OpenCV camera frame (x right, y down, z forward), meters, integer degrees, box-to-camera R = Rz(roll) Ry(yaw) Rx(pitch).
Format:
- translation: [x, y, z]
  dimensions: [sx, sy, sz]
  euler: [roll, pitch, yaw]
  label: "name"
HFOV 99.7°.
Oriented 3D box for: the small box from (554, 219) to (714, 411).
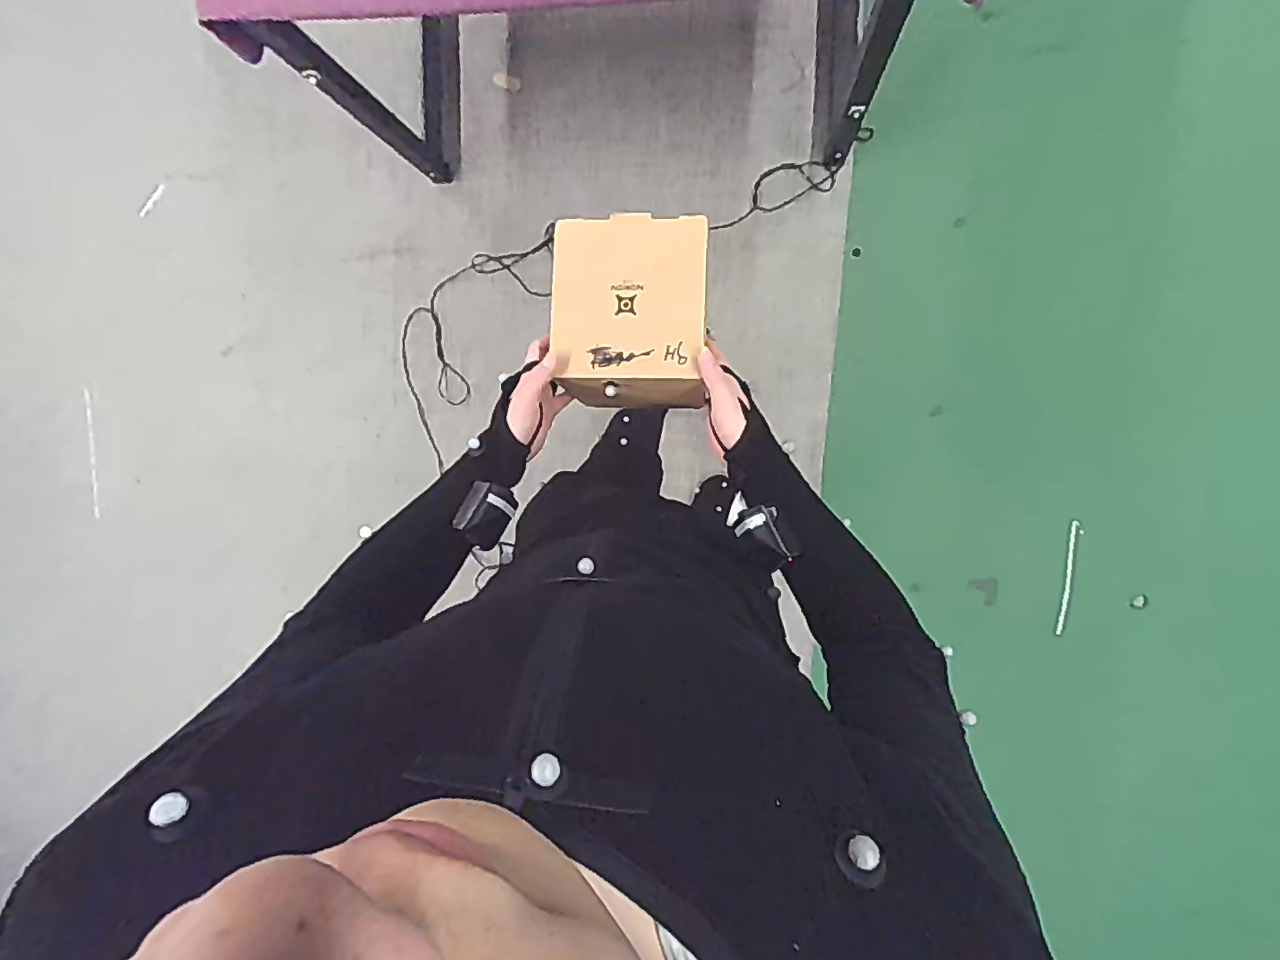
- translation: [0.001, -0.188, 0.653]
  dimensions: [0.168, 0.176, 0.179]
  euler: [2, 87, 7]
  label: "small box"
